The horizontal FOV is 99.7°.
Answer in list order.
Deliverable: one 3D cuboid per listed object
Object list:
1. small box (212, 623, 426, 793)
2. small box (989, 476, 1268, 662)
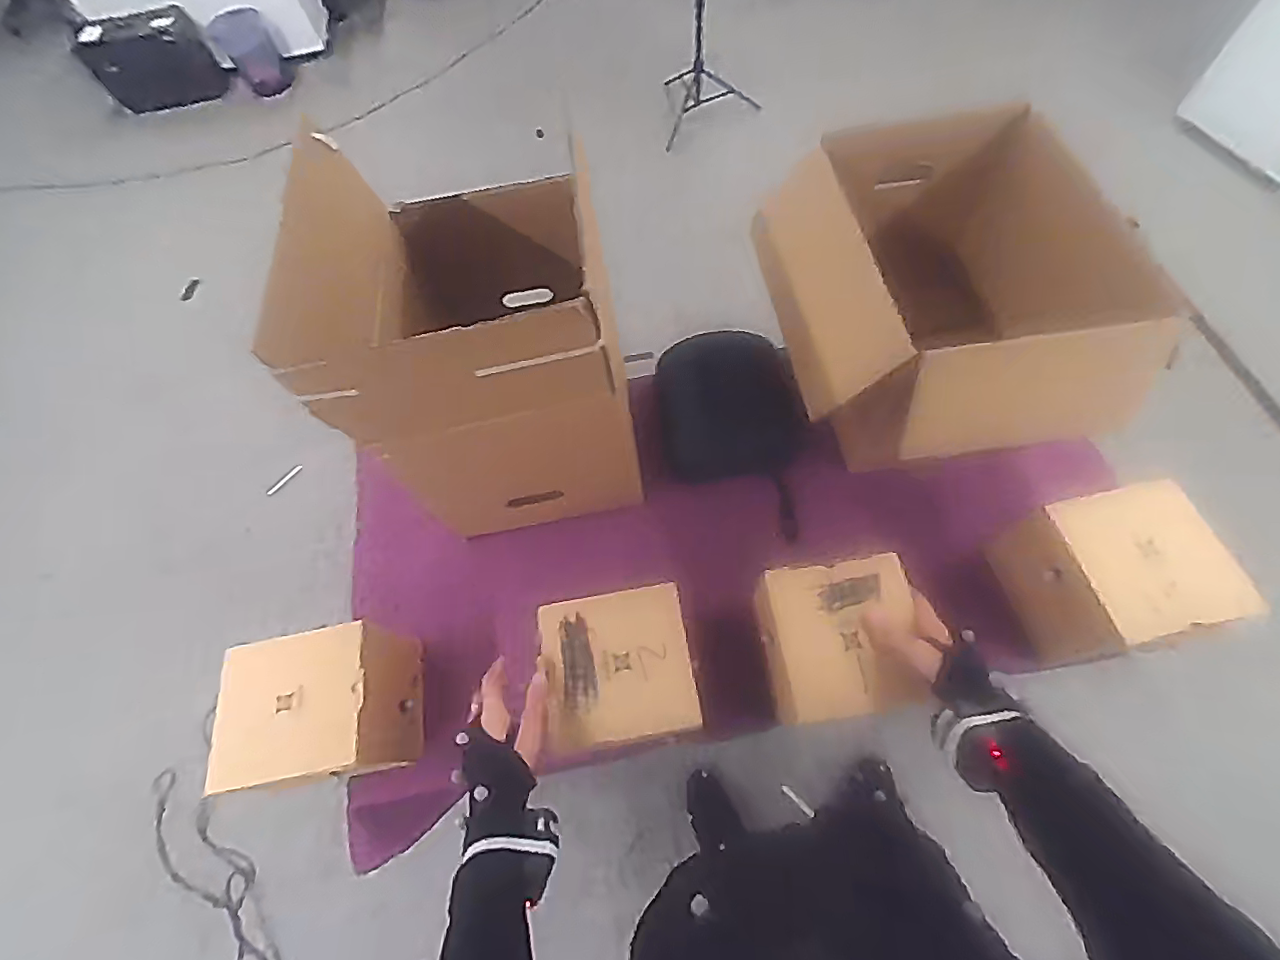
[{"bbox_3d":[-0.405,0.303,0.715,0.179,0.176,0.168,-11,63,-2],"label":"small box"},{"bbox_3d":[0.602,0.122,0.702,0.168,0.176,0.179,-13,64,0],"label":"small box"}]
